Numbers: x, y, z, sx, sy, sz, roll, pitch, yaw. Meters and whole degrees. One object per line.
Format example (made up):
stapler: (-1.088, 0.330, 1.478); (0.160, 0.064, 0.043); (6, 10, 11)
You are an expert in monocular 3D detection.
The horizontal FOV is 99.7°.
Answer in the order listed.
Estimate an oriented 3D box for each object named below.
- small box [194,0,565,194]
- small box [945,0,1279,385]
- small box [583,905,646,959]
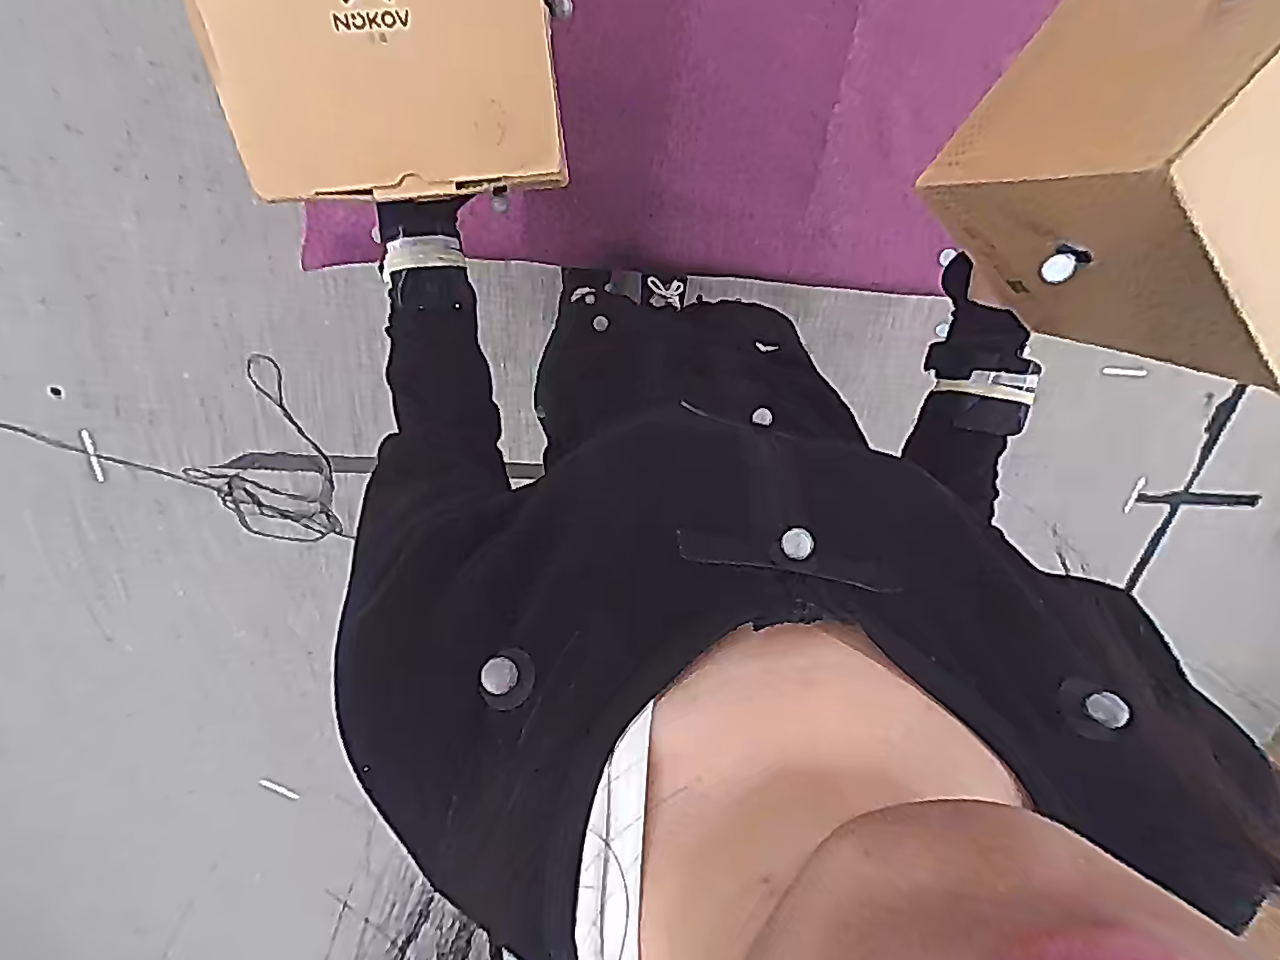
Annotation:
small box: (-0.137, -0.276, 0.325); (0.168, 0.176, 0.179); (-8, 117, -4)
small box: (0.312, -0.187, 0.303); (0.168, 0.176, 0.179); (33, 104, -24)
small box: (-0.087, 1.472, 1.698); (0.168, 0.176, 0.179); (6, 114, -11)
